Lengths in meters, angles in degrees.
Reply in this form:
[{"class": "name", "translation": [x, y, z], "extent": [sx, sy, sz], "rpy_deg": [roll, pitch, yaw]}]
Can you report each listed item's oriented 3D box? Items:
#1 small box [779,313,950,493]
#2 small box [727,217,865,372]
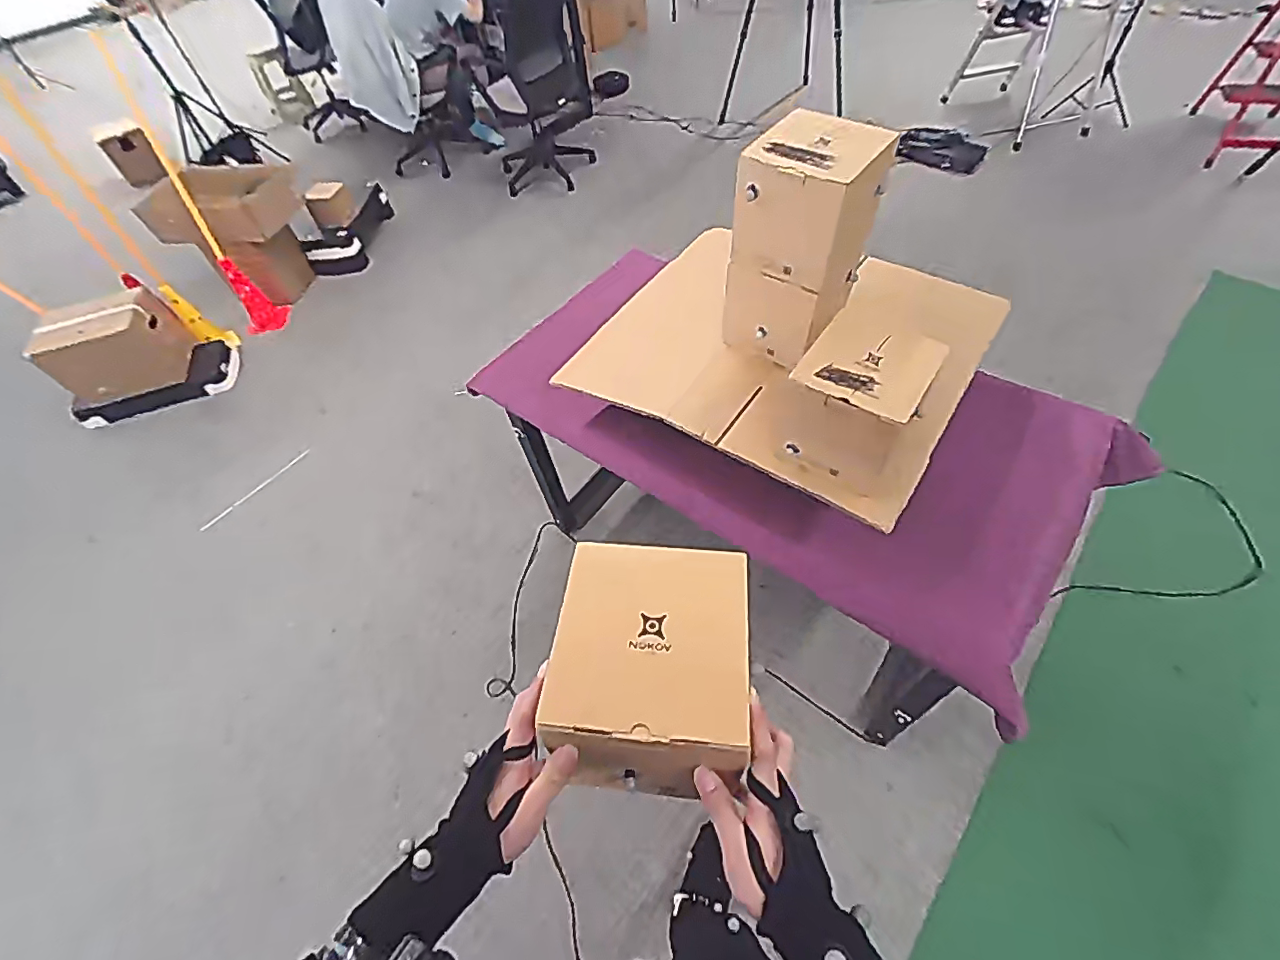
[{"class": "small box", "translation": [0.324, -0.111, 0.812], "extent": [0.168, 0.176, 0.179], "rpy_deg": [30, 62, 23]}, {"class": "small box", "translation": [0.268, -0.329, 0.966], "extent": [0.168, 0.176, 0.179], "rpy_deg": [31, 64, 23]}]
